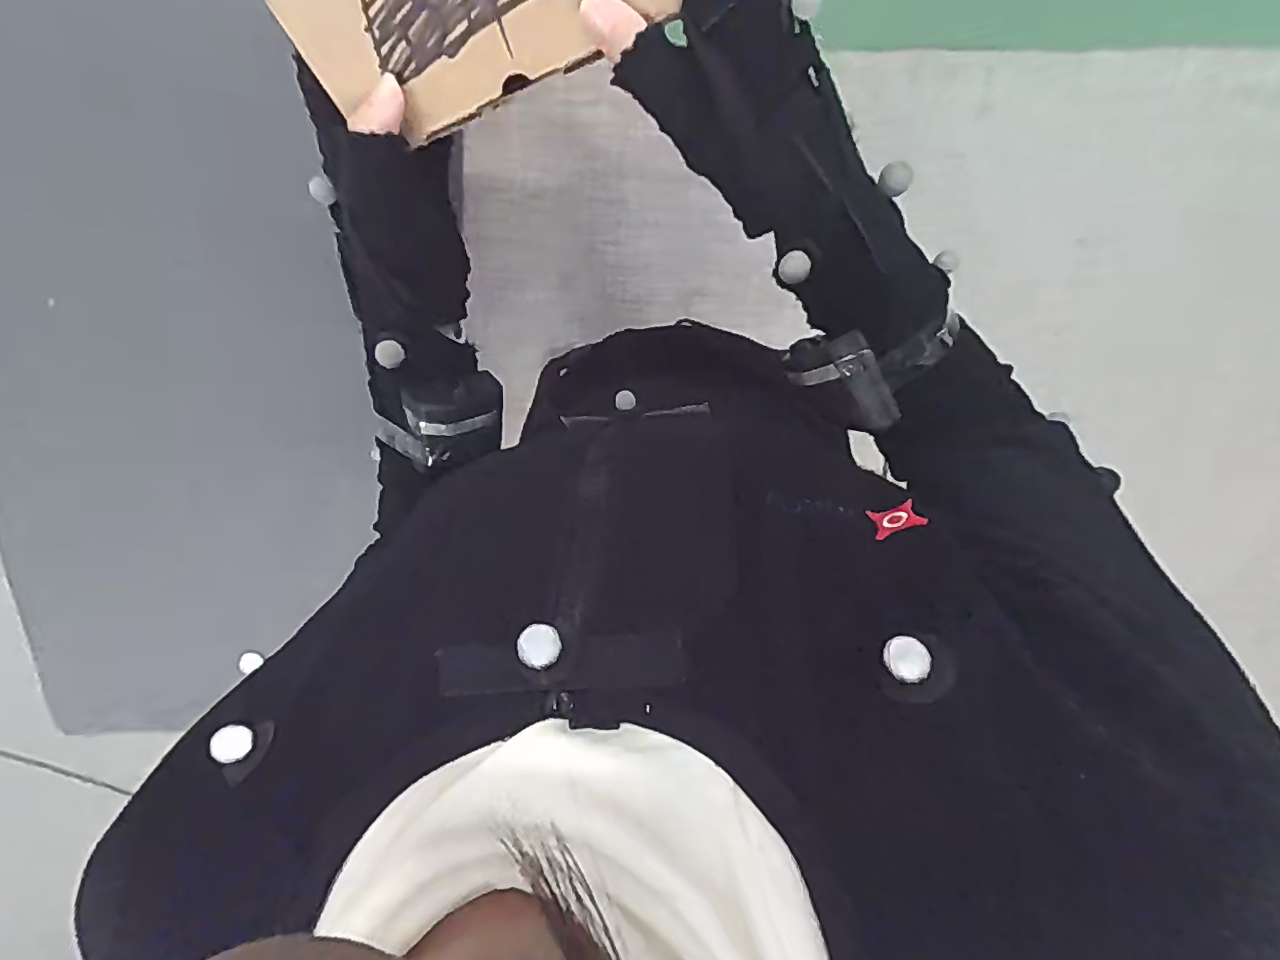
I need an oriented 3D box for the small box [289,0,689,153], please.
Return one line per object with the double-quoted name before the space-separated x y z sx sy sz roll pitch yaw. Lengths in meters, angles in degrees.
"small box" -0.077 -0.295 0.246 0.168 0.176 0.179 -12 136 16
